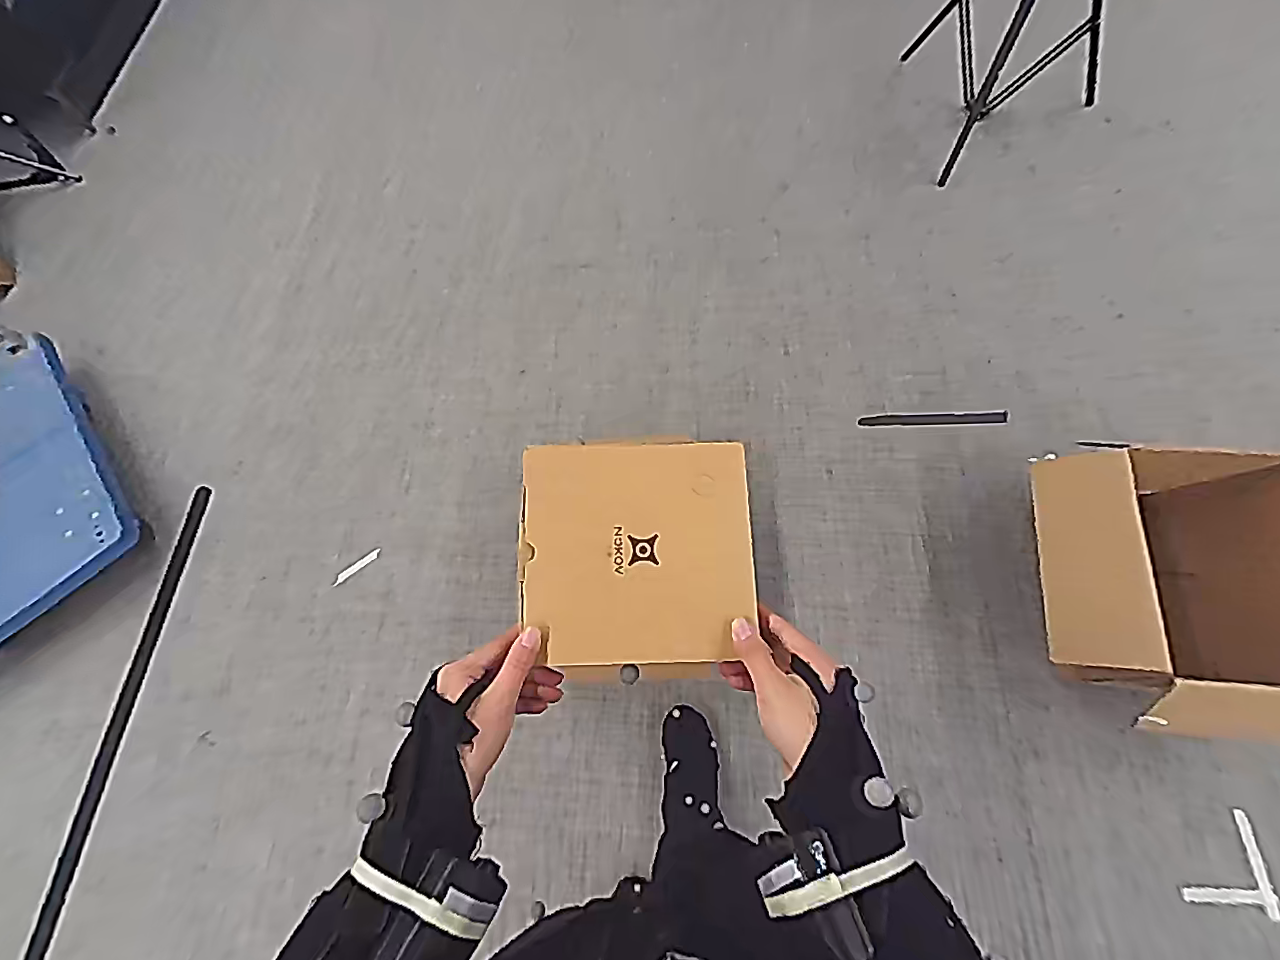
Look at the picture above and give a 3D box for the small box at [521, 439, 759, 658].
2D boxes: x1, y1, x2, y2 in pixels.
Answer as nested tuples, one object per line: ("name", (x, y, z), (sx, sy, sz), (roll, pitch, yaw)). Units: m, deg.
("small box", (-0.002, 0.066, 0.488), (0.179, 0.176, 0.168), (-2, 76, 0))
